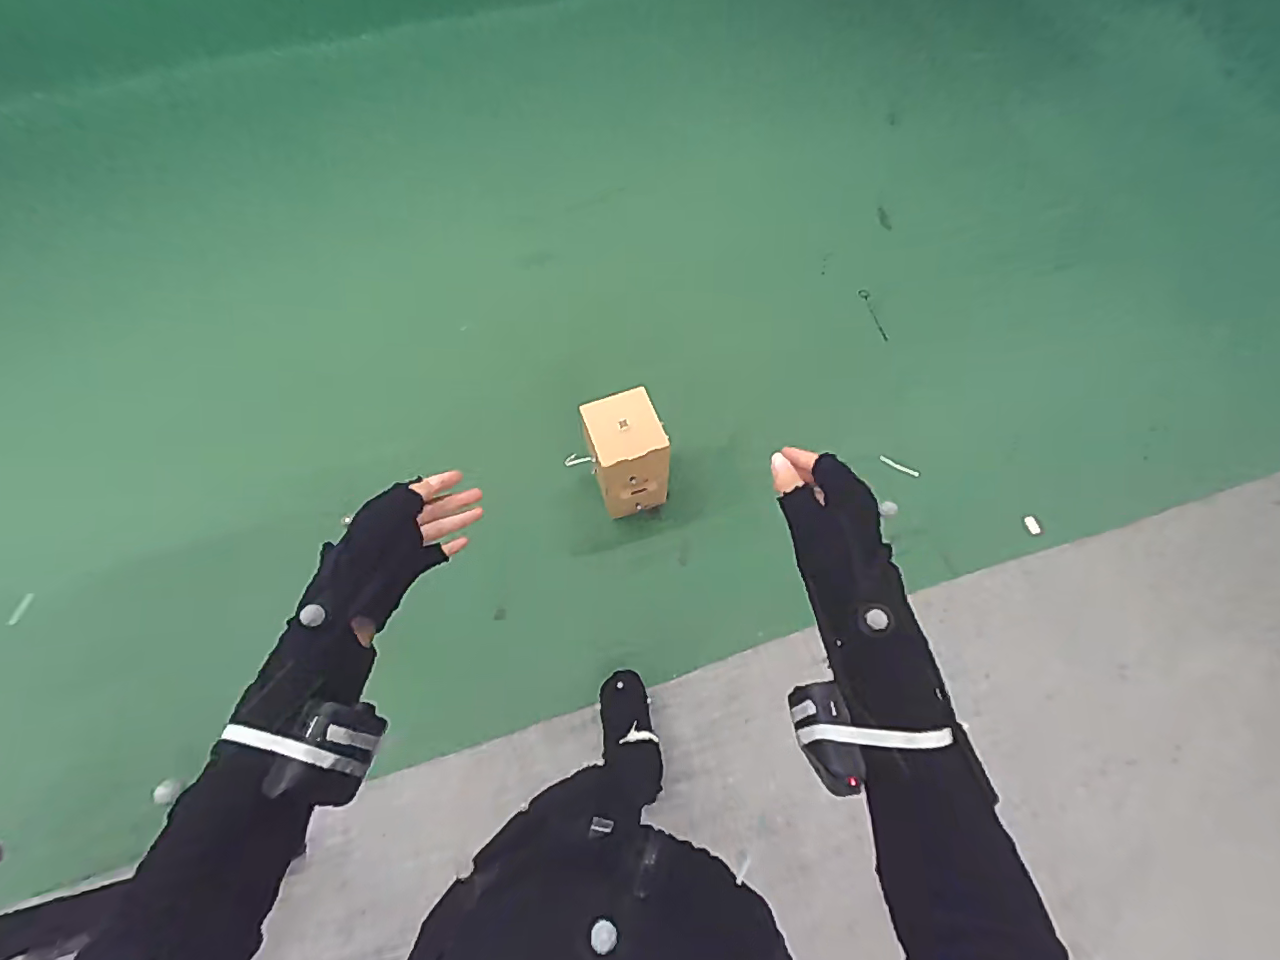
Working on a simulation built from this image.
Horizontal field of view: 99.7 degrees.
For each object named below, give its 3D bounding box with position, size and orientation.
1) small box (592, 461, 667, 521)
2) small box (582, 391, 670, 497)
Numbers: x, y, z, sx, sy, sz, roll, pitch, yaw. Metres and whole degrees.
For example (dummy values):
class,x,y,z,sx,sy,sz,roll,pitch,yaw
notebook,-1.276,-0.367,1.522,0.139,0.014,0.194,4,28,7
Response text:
class,x,y,z,sx,sy,sz,roll,pitch,yaw
small box,-0.032,-0.013,1.478,0.168,0.176,0.179,-18,65,-7
small box,-0.037,-0.084,1.331,0.168,0.176,0.179,-19,66,-9
